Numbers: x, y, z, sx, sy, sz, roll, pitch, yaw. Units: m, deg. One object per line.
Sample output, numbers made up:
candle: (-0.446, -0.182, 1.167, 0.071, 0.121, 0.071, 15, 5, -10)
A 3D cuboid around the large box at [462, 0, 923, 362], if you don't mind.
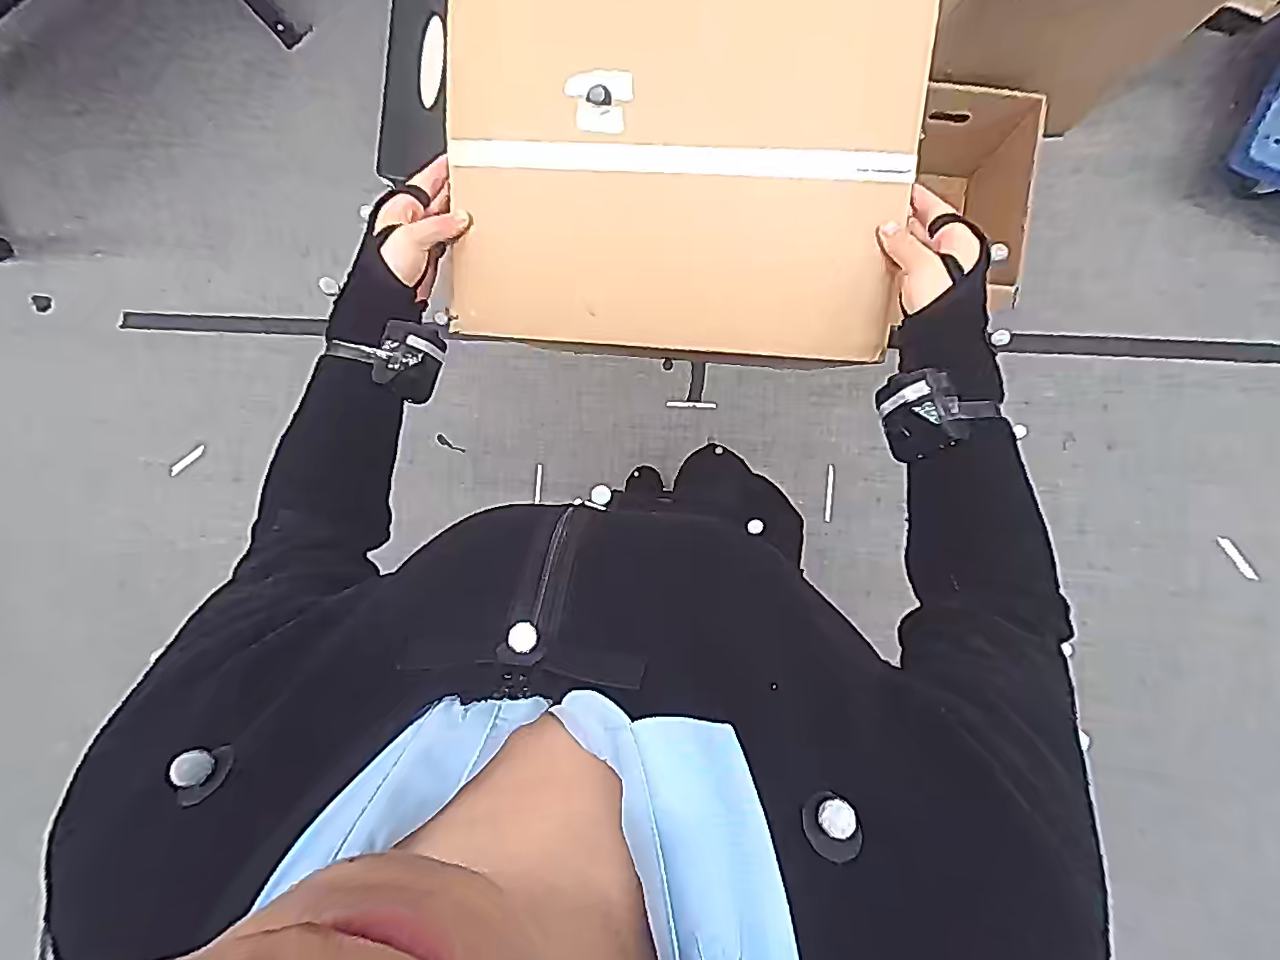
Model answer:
large box: (0.048, -0.305, 0.633, 0.408, 0.320, 0.320, 5, 99, 5)
